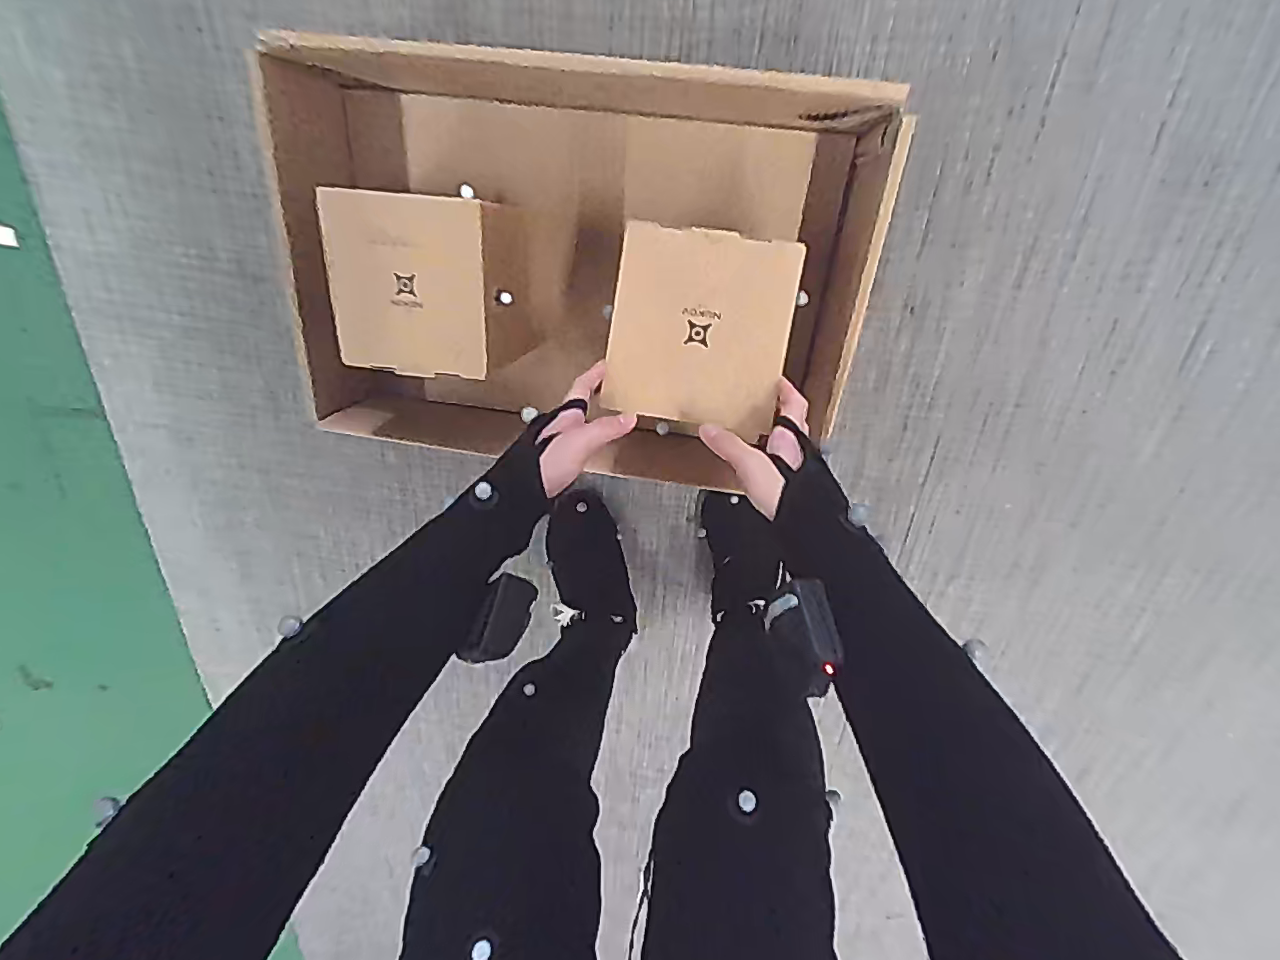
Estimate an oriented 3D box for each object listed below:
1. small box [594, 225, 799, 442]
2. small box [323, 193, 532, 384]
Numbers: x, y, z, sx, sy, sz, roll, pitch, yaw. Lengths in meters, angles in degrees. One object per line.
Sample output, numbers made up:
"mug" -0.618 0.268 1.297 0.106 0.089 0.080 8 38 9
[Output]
"small box" 0.058 -0.139 0.575 0.168 0.176 0.179 9 92 5
"small box" -0.228 -0.225 0.632 0.168 0.176 0.179 7 114 4
